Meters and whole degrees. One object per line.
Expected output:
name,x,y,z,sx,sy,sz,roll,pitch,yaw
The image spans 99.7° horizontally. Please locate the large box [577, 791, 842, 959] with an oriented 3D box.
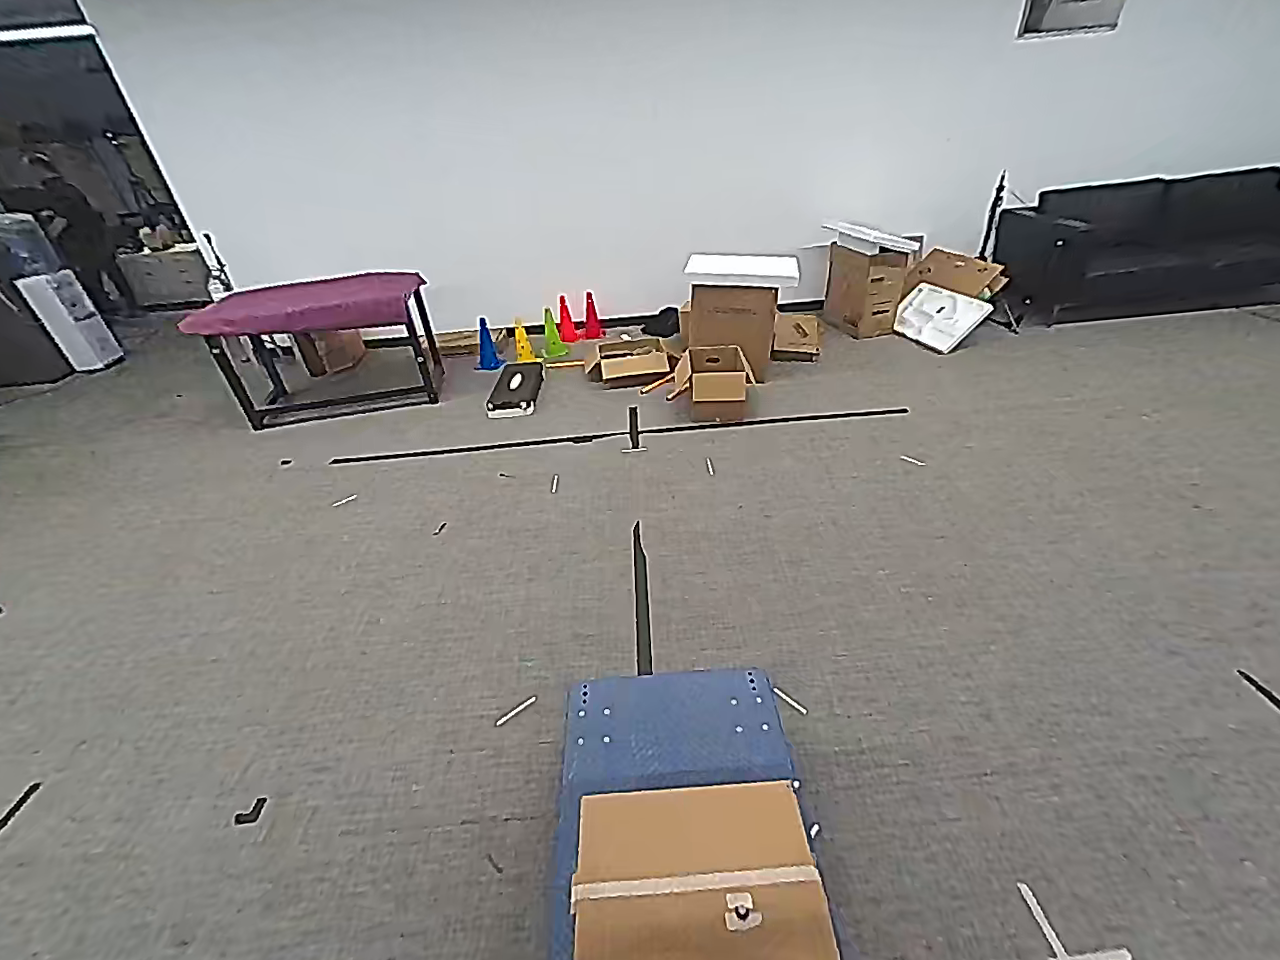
large box,0.105,0.803,0.958,0.408,0.320,0.320,-4,34,0
